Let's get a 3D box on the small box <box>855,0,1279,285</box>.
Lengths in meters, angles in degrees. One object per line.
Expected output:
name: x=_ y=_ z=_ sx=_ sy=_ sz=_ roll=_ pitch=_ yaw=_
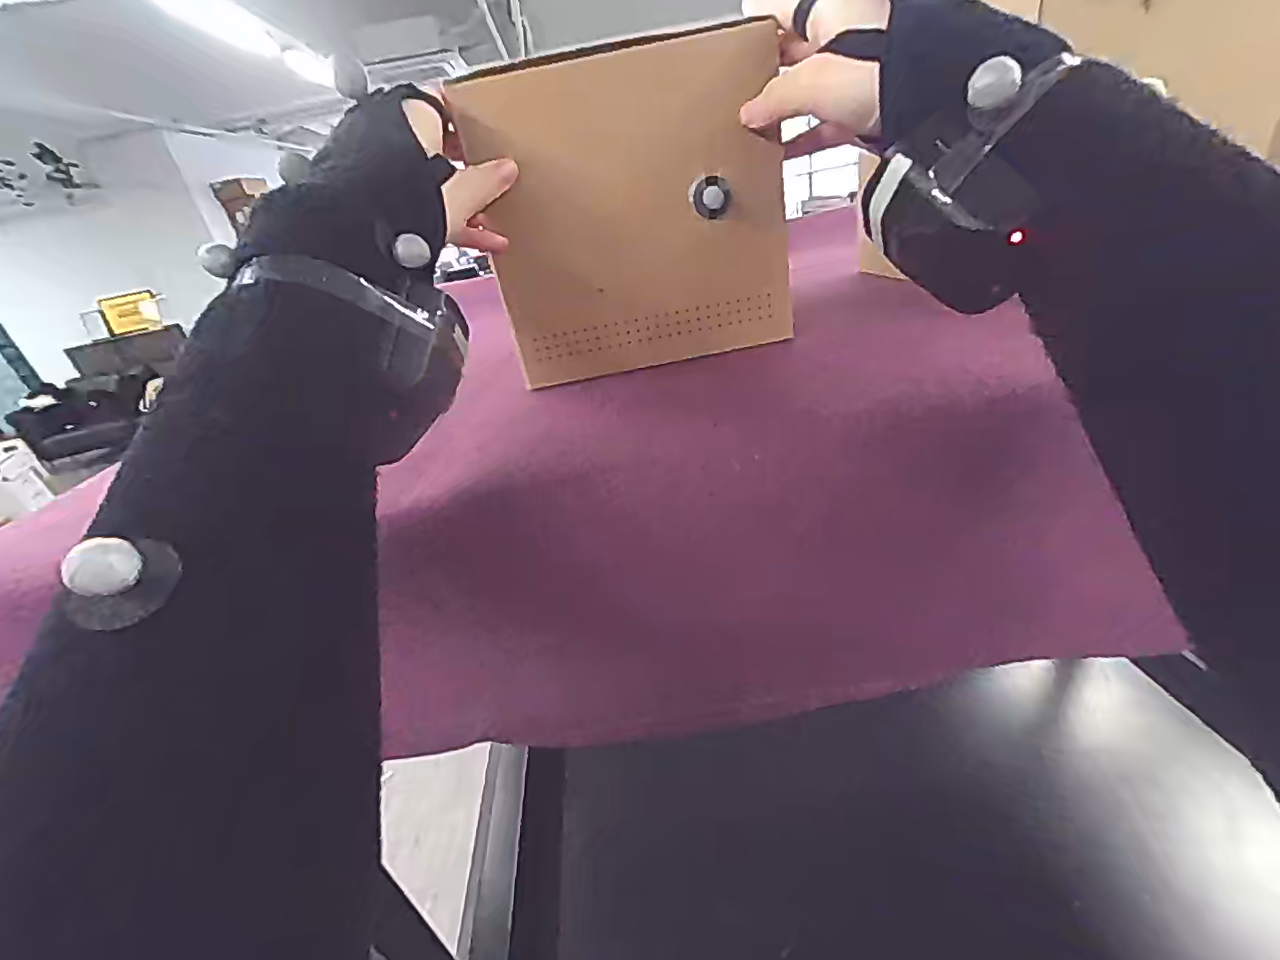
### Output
small box: x=0.269 y=-0.240 z=0.372 sx=0.168 sy=0.176 sz=0.179 roll=-14 pitch=27 yaw=-4

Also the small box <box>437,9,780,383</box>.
small box: x=-0.009 y=-0.182 z=0.375 sx=0.179 sy=0.176 sz=0.168 roll=-12 pitch=27 yaw=1
